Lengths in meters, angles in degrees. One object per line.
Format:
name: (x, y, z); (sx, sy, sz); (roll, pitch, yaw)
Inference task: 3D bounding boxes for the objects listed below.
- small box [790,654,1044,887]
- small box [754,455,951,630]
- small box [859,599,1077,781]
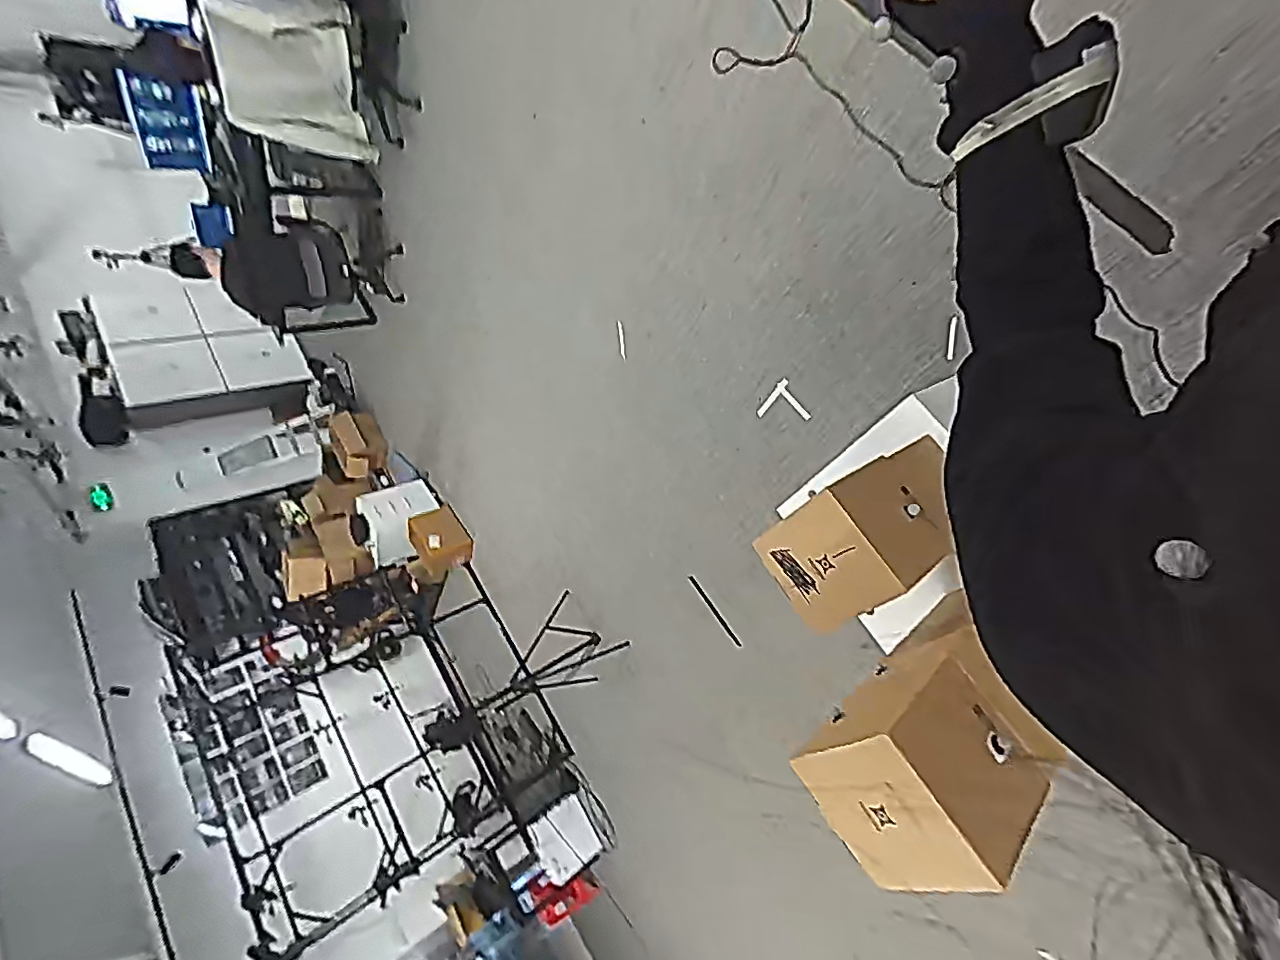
small box: (0.323, 0.337, 0.639); (0.168, 0.176, 0.179); (54, 141, 17)
small box: (0.311, 0.089, 0.798); (0.168, 0.176, 0.179); (56, 140, 15)
small box: (0.445, 0.288, 0.734); (0.168, 0.176, 0.179); (55, 142, 17)
